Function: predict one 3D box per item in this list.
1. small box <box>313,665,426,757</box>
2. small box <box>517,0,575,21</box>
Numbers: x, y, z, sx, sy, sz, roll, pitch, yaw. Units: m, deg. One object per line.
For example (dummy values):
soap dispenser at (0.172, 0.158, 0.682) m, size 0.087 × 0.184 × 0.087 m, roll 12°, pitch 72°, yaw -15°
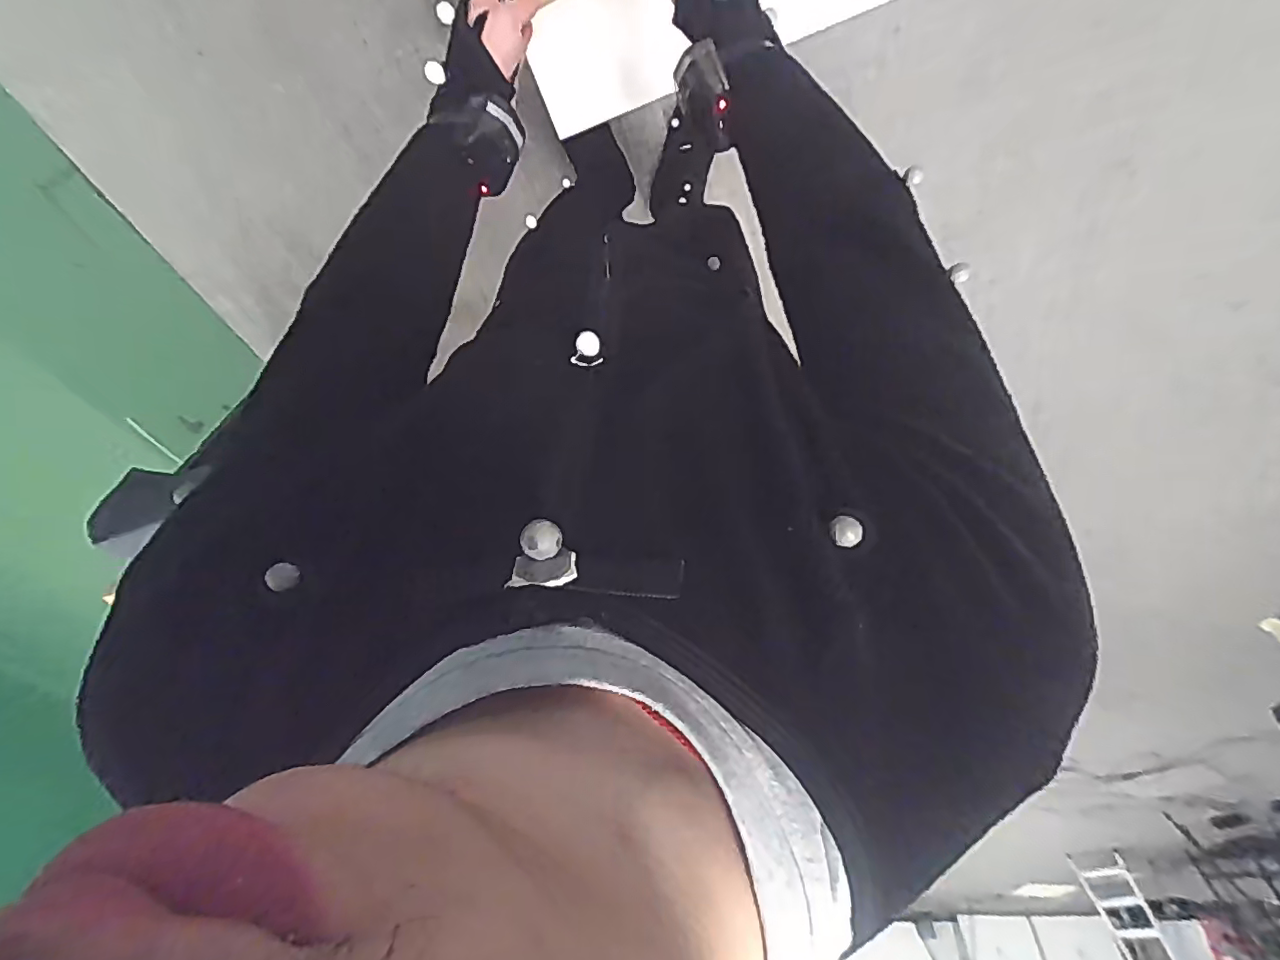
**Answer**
small box at (-0.690, 0.592, 1.400) m, size 0.168 × 0.176 × 0.179 m, roll -13°, pitch 132°, yaw 14°
small box at (-0.054, -0.555, 0.483) m, size 0.179 × 0.176 × 0.168 m, roll -16°, pitch 130°, yaw 17°
